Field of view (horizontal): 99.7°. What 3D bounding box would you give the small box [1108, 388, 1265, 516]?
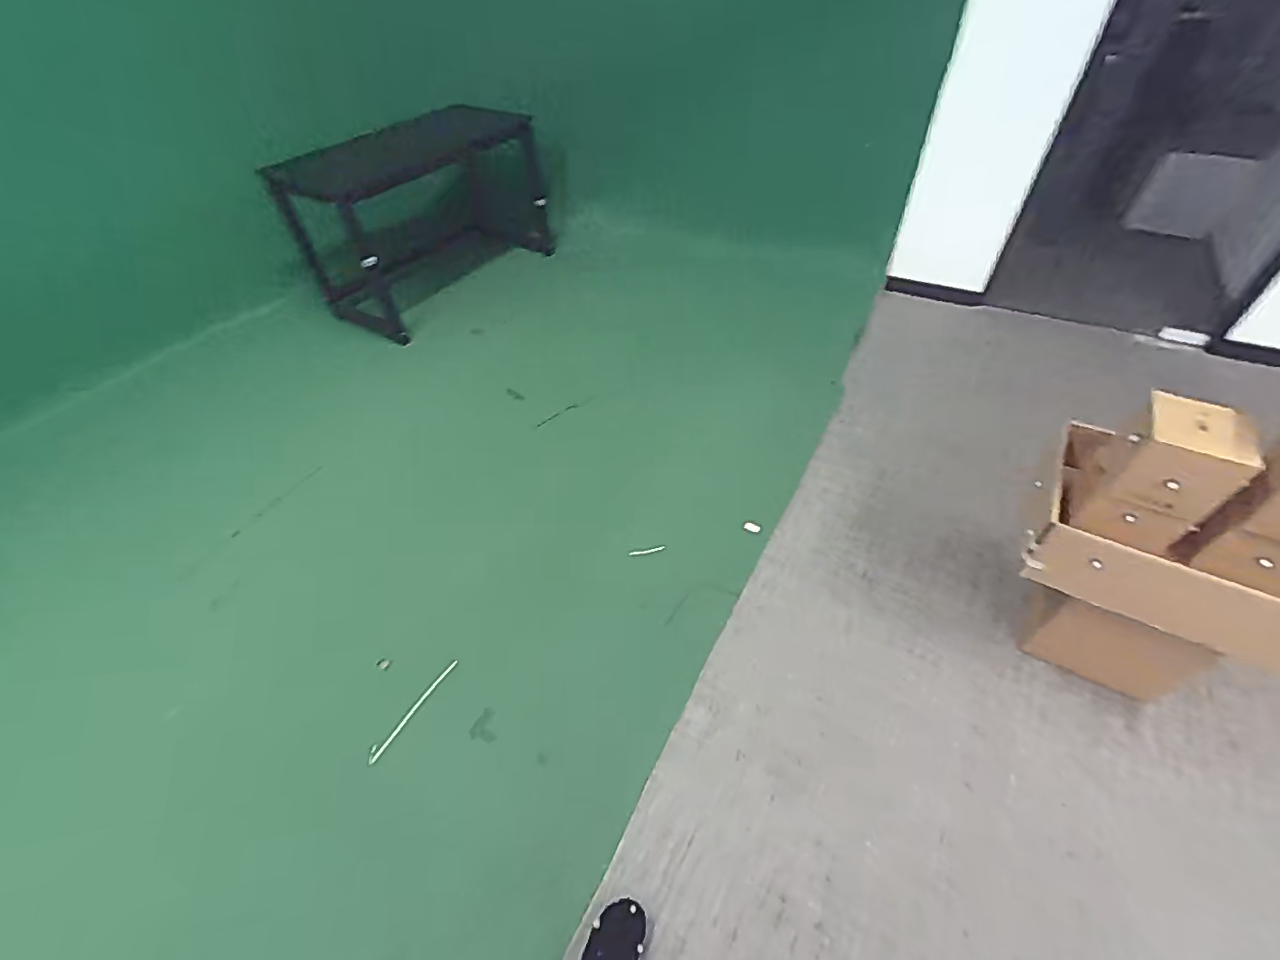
[{"bbox_3d":[1.105,-0.055,1.110,0.168,0.176,0.179,22,53,22],"label":"small box"}]
